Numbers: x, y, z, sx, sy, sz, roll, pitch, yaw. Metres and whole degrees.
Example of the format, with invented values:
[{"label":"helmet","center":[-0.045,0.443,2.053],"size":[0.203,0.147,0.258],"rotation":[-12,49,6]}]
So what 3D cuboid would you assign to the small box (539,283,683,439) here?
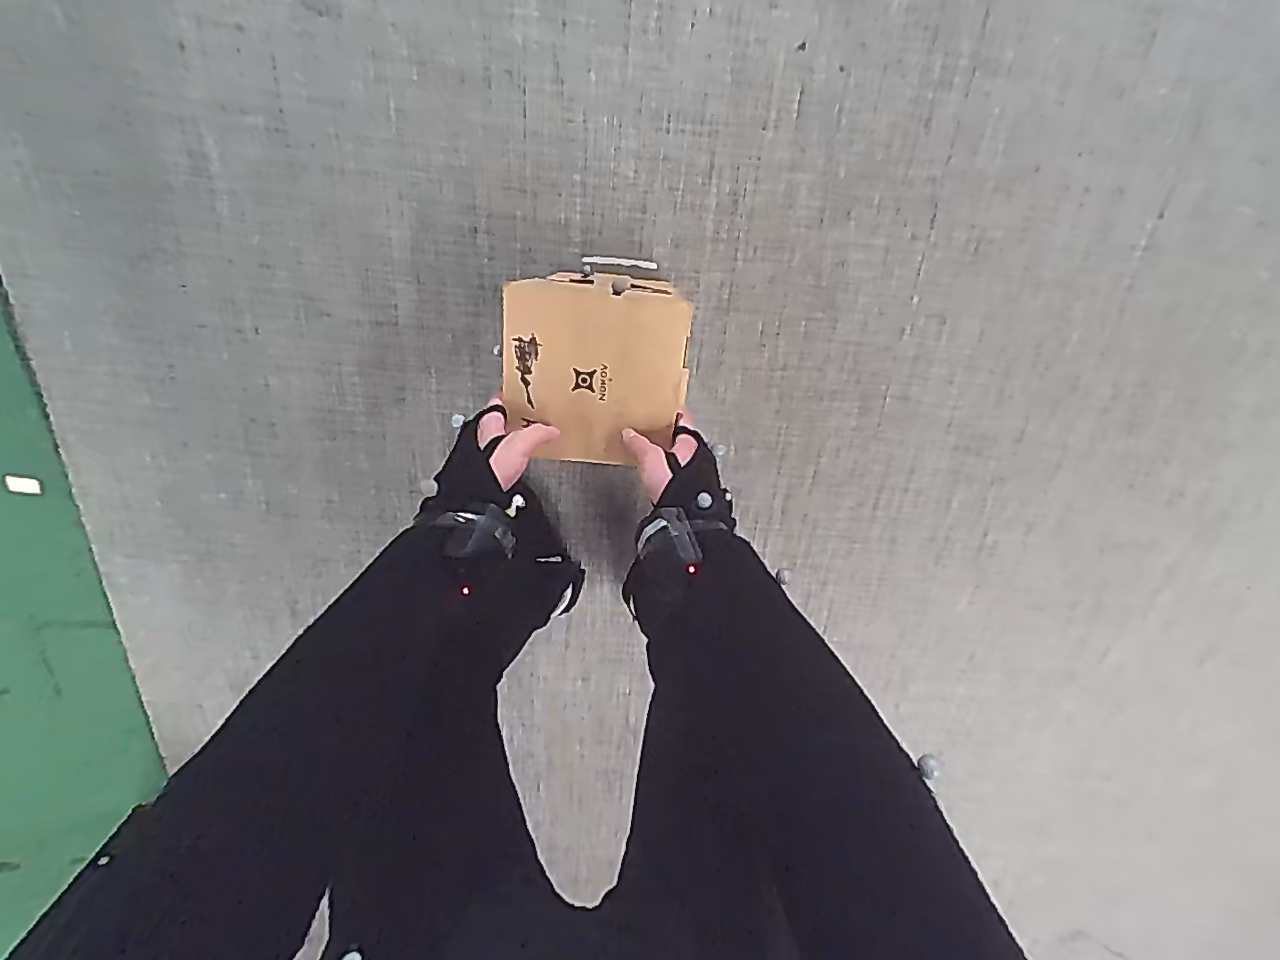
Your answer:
[{"label":"small box","center":[-0.041,-0.172,0.748],"size":[0.168,0.176,0.179],"rotation":[6,112,-3]}]
